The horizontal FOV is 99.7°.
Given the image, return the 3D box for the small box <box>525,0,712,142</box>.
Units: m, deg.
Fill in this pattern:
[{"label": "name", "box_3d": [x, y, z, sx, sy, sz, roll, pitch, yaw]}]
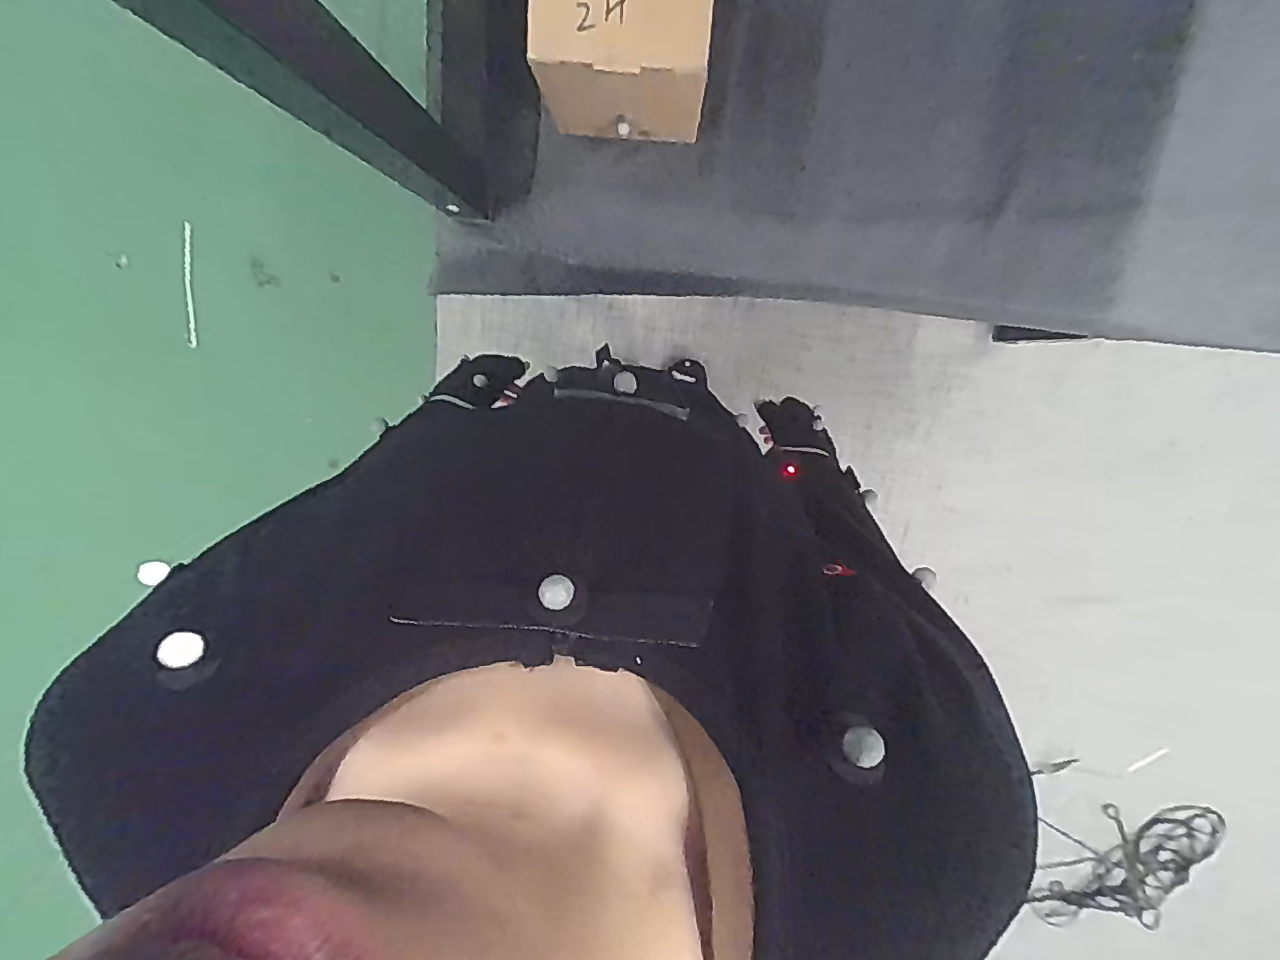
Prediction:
[{"label": "small box", "box_3d": [-0.014, -0.475, 0.545, 0.168, 0.176, 0.179, 4, 103, 2]}]
